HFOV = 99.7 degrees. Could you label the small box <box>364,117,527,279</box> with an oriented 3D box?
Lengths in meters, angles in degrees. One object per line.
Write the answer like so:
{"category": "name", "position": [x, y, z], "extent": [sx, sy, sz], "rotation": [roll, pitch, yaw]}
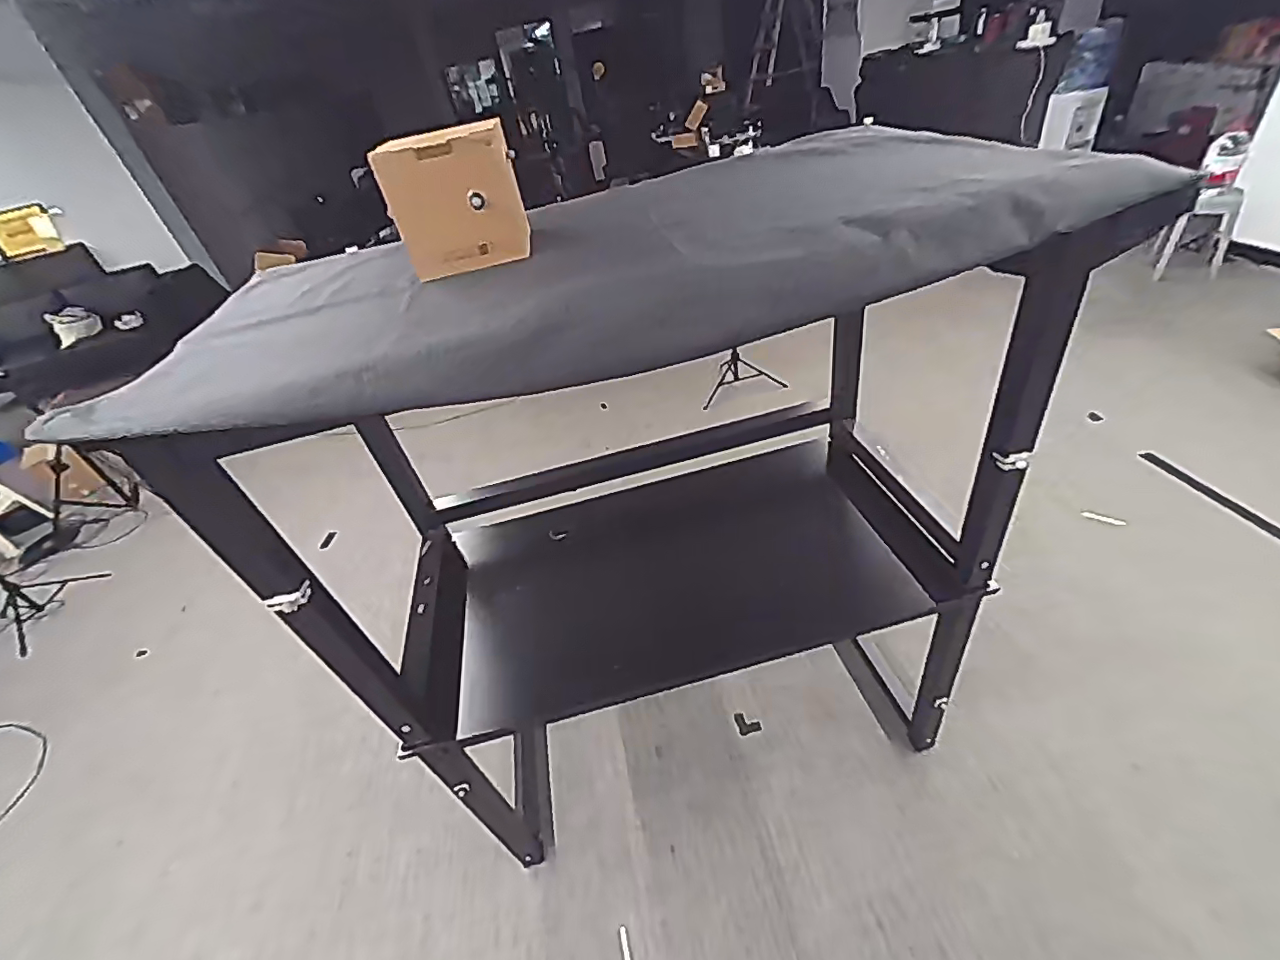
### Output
{"category": "small box", "position": [-0.269, -0.411, 0.797], "extent": [0.168, 0.176, 0.179], "rotation": [-13, 39, -1]}
